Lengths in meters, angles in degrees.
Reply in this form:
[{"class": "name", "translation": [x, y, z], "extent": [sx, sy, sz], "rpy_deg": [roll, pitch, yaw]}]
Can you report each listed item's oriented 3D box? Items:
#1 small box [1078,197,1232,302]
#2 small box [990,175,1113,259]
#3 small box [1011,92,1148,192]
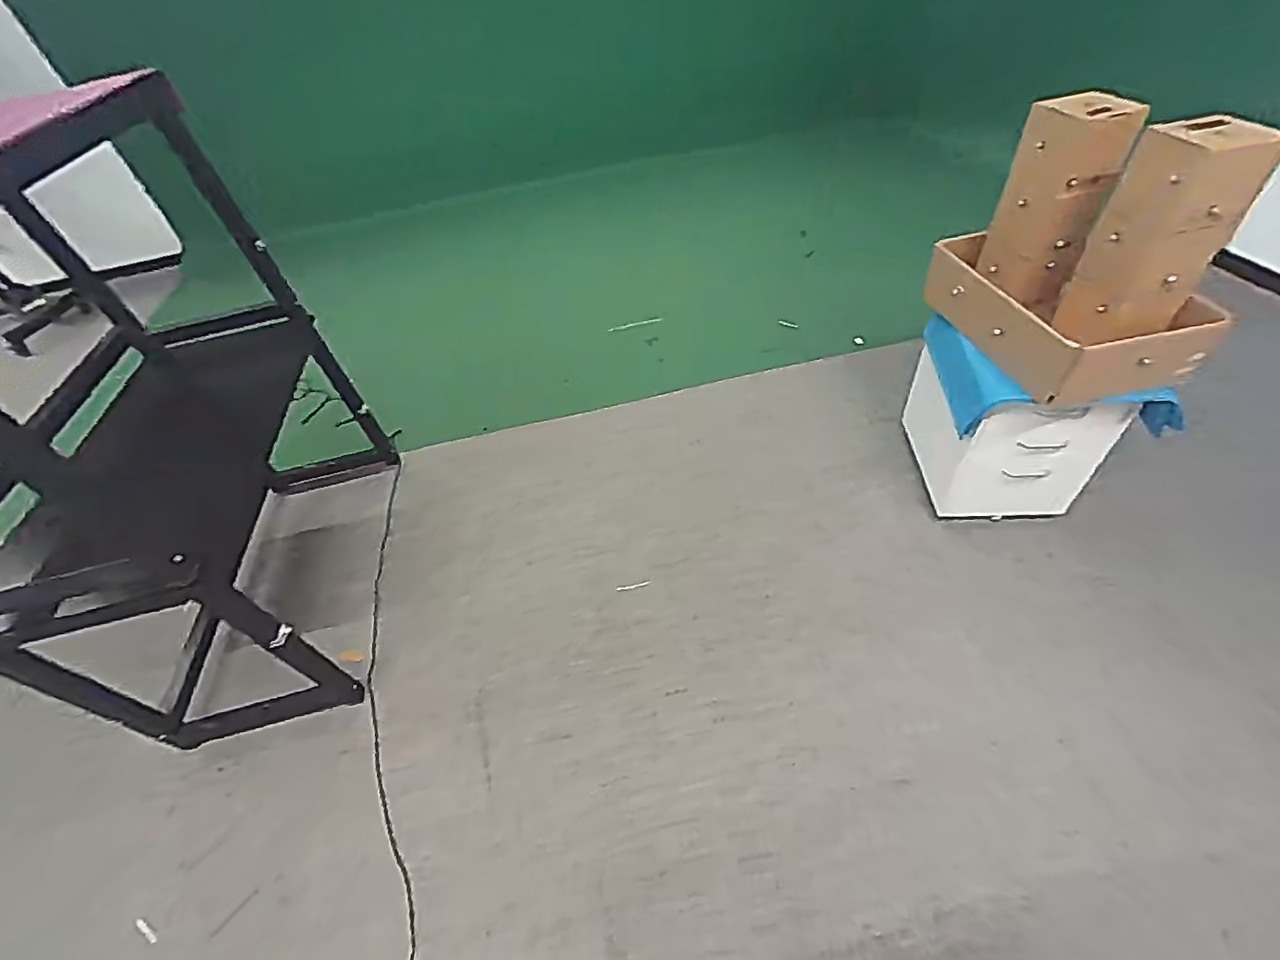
[{"class": "small box", "translation": [1.211, -0.550, 1.293], "extent": [0.168, 0.176, 0.179], "rpy_deg": [-9, 47, 1]}, {"class": "small box", "translation": [1.104, -0.728, 1.472], "extent": [0.168, 0.176, 0.179], "rpy_deg": [-15, 48, -5]}, {"class": "small box", "translation": [1.087, -0.842, 1.356], "extent": [0.168, 0.176, 0.179], "rpy_deg": [-12, 47, -3]}]
